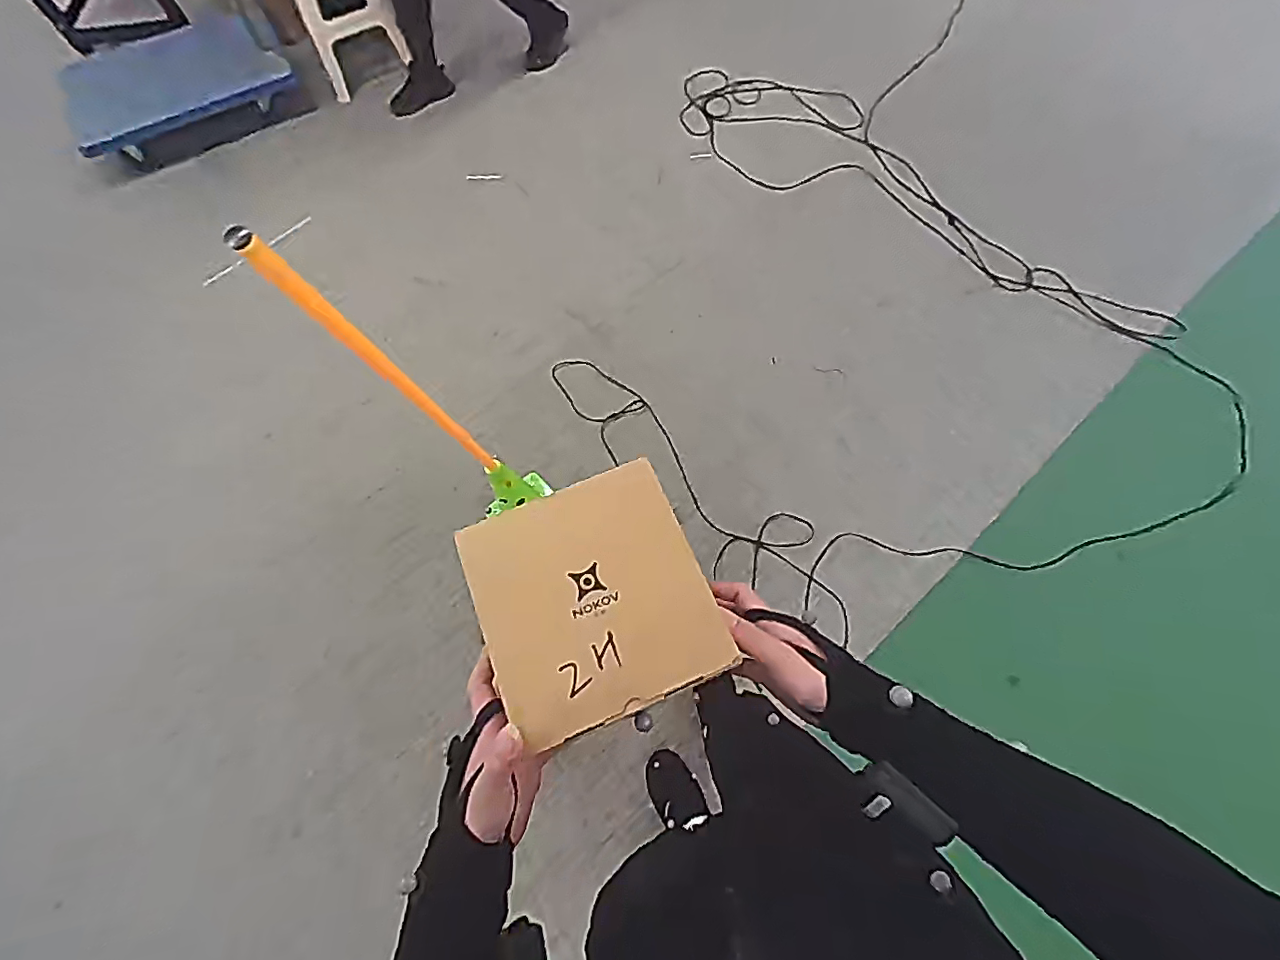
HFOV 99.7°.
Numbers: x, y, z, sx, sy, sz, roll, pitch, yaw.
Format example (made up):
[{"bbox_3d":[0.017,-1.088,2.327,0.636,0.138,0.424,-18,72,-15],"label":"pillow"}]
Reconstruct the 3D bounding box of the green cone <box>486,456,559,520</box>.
[{"bbox_3d":[-0.342,0.030,1.472,0.202,0.368,0.200,-40,73,-14],"label":"green cone"}]

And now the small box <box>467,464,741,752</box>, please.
[{"bbox_3d":[-0.031,0.117,0.480,0.168,0.176,0.179,-21,69,-6],"label":"small box"}]
